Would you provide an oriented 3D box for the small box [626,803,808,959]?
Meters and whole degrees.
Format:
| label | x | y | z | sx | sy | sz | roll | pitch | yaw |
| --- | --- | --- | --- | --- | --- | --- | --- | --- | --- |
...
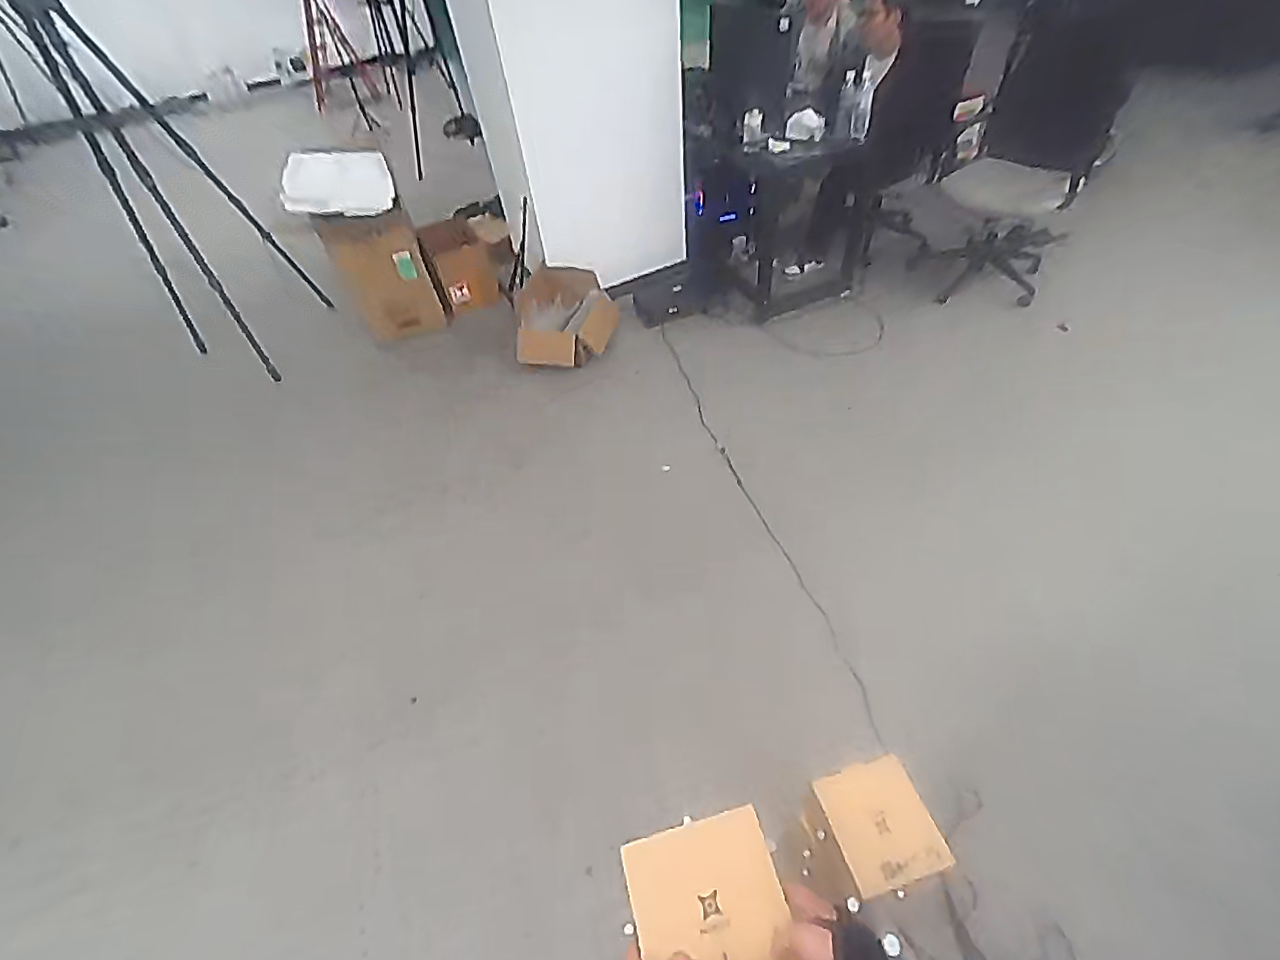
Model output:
| label | x | y | z | sx | sy | sz | roll | pitch | yaw |
| --- | --- | --- | --- | --- | --- | --- | --- | --- | --- |
| small box | 0.083 | 0.517 | 0.645 | 0.168 | 0.176 | 0.179 | -14 | 53 | -7 |

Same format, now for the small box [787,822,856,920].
| label | x | y | z | sx | sy | sz | roll | pitch | yaw |
| --- | --- | --- | --- | --- | --- | --- | --- | --- | --- |
| small box | 0.447 | 0.839 | 1.205 | 0.168 | 0.176 | 0.179 | -23 | 49 | -12 |

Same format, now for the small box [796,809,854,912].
| label | x | y | z | sx | sy | sz | roll | pitch | yaw |
| --- | --- | --- | --- | --- | --- | --- | --- | --- | --- |
| small box | 0.430 | 0.731 | 1.085 | 0.179 | 0.176 | 0.168 | -21 | 49 | -11 |

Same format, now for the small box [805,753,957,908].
| label | x | y | z | sx | sy | sz | roll | pitch | yaw |
| --- | --- | --- | --- | --- | --- | --- | --- | --- | --- |
| small box | 0.411 | 0.624 | 0.962 | 0.168 | 0.176 | 0.179 | -16 | 47 | -6 |
